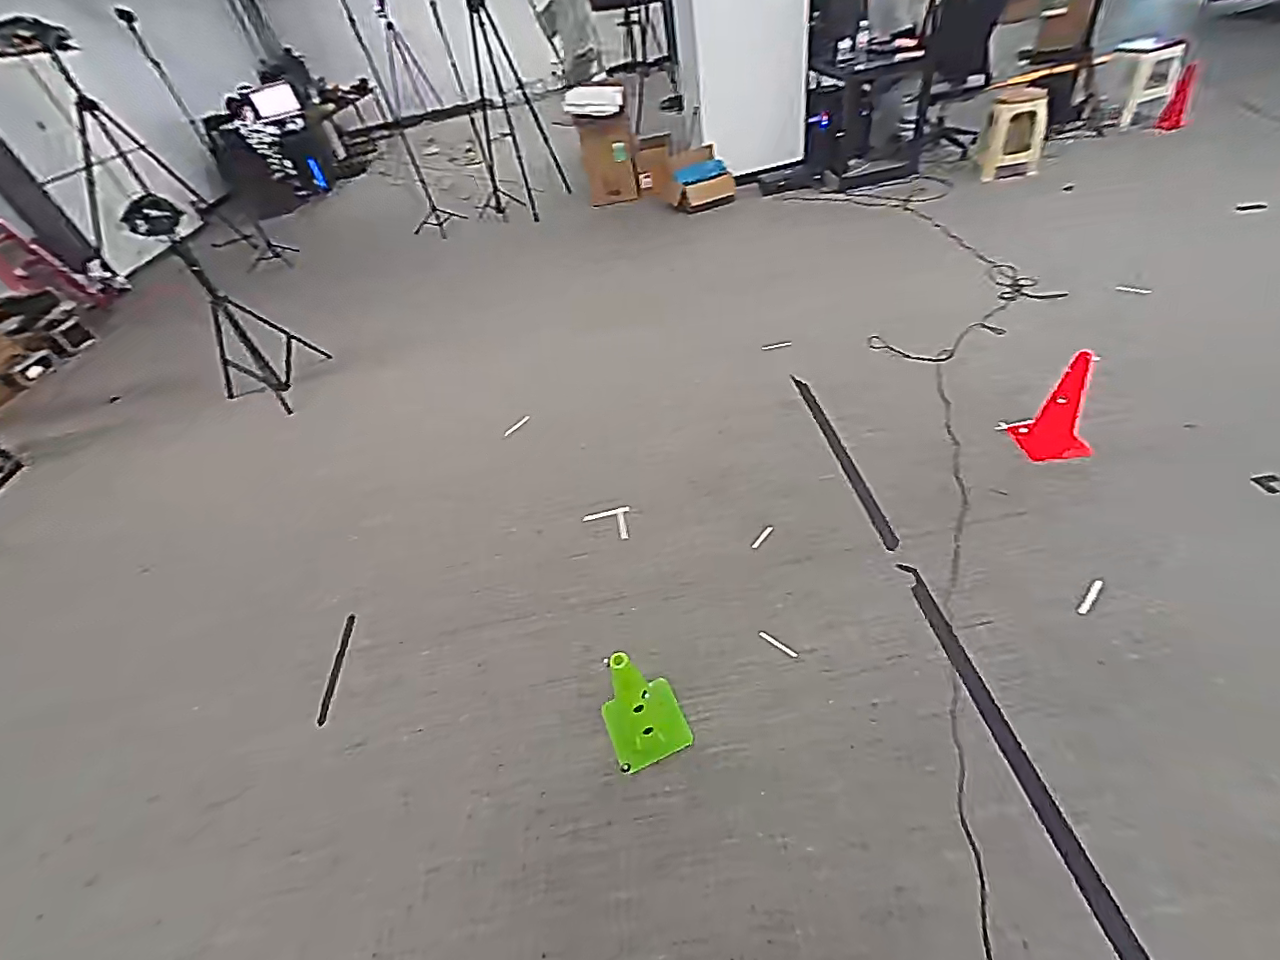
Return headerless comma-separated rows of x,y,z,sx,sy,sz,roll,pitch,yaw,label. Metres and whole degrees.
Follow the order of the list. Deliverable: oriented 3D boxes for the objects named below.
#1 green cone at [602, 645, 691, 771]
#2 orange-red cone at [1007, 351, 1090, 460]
-0.016,0.520,1.329,0.200,0.368,0.202,-22,42,-10,green cone
1.406,-0.264,1.792,0.198,0.360,0.199,-7,44,8,orange-red cone
